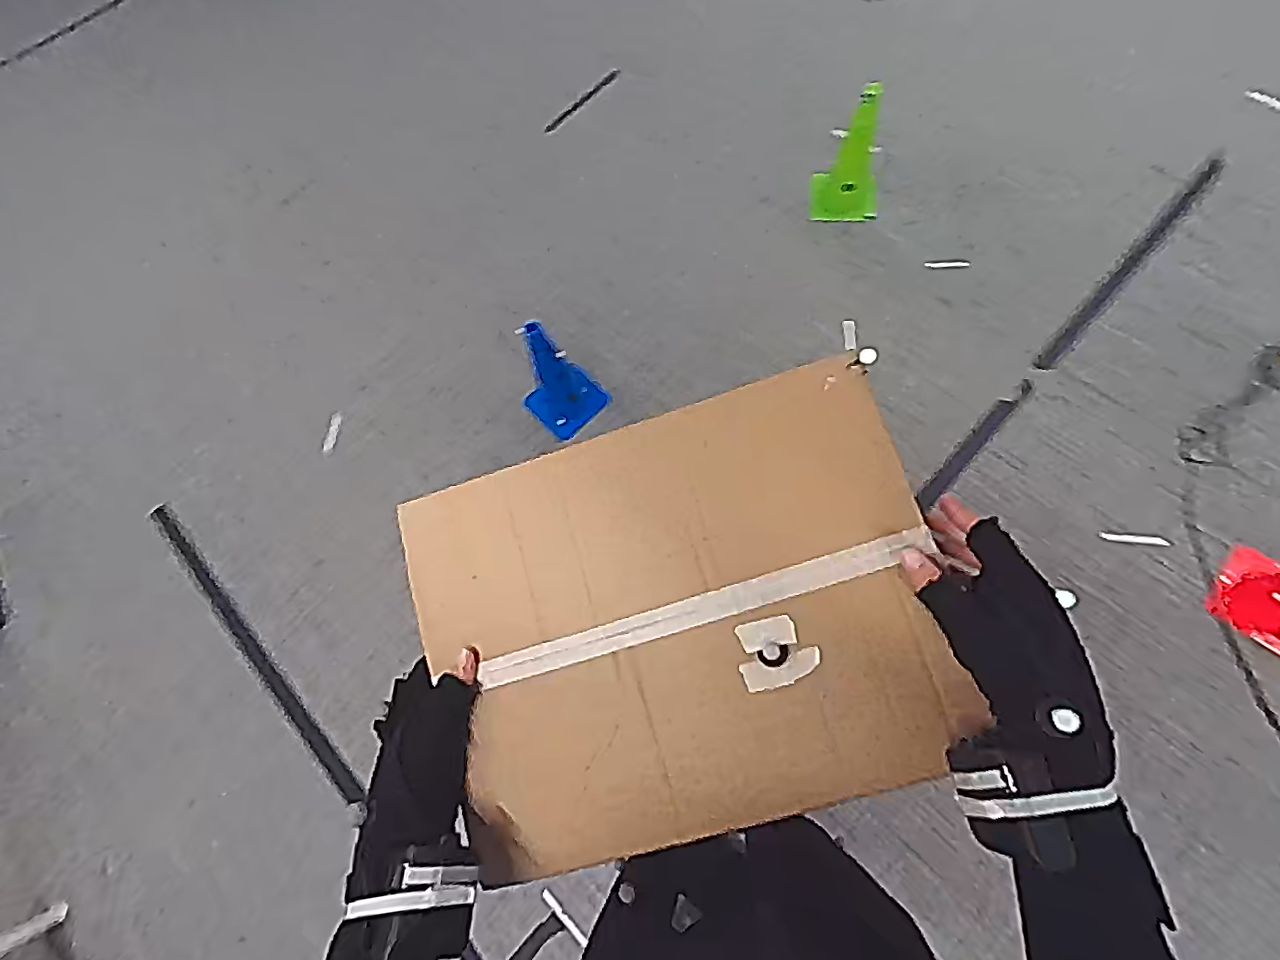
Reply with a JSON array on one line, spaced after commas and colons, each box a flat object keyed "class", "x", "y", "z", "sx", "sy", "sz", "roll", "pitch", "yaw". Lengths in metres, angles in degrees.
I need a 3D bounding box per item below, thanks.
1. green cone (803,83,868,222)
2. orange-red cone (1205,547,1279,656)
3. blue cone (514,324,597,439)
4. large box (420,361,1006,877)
[{"class": "green cone", "x": 0.618, "y": -0.988, "z": 1.611, "sx": 0.202, "sy": 0.368, "sz": 0.200, "roll": 3, "pitch": 69, "yaw": 9}, {"class": "orange-red cone", "x": 1.413, "y": 0.215, "z": 1.078, "sx": 0.198, "sy": 0.360, "sz": 0.199, "roll": 38, "pitch": 77, "yaw": 17}, {"class": "blue cone", "x": -0.260, "y": -0.288, "z": 1.467, "sx": 0.193, "sy": 0.380, "sz": 0.192, "roll": -43, "pitch": 70, "yaw": -10}, {"class": "large box", "x": 0.054, "y": 0.130, "z": 0.576, "sx": 0.408, "sy": 0.320, "sz": 0.320, "roll": -18, "pitch": 79, "yaw": 5}]
